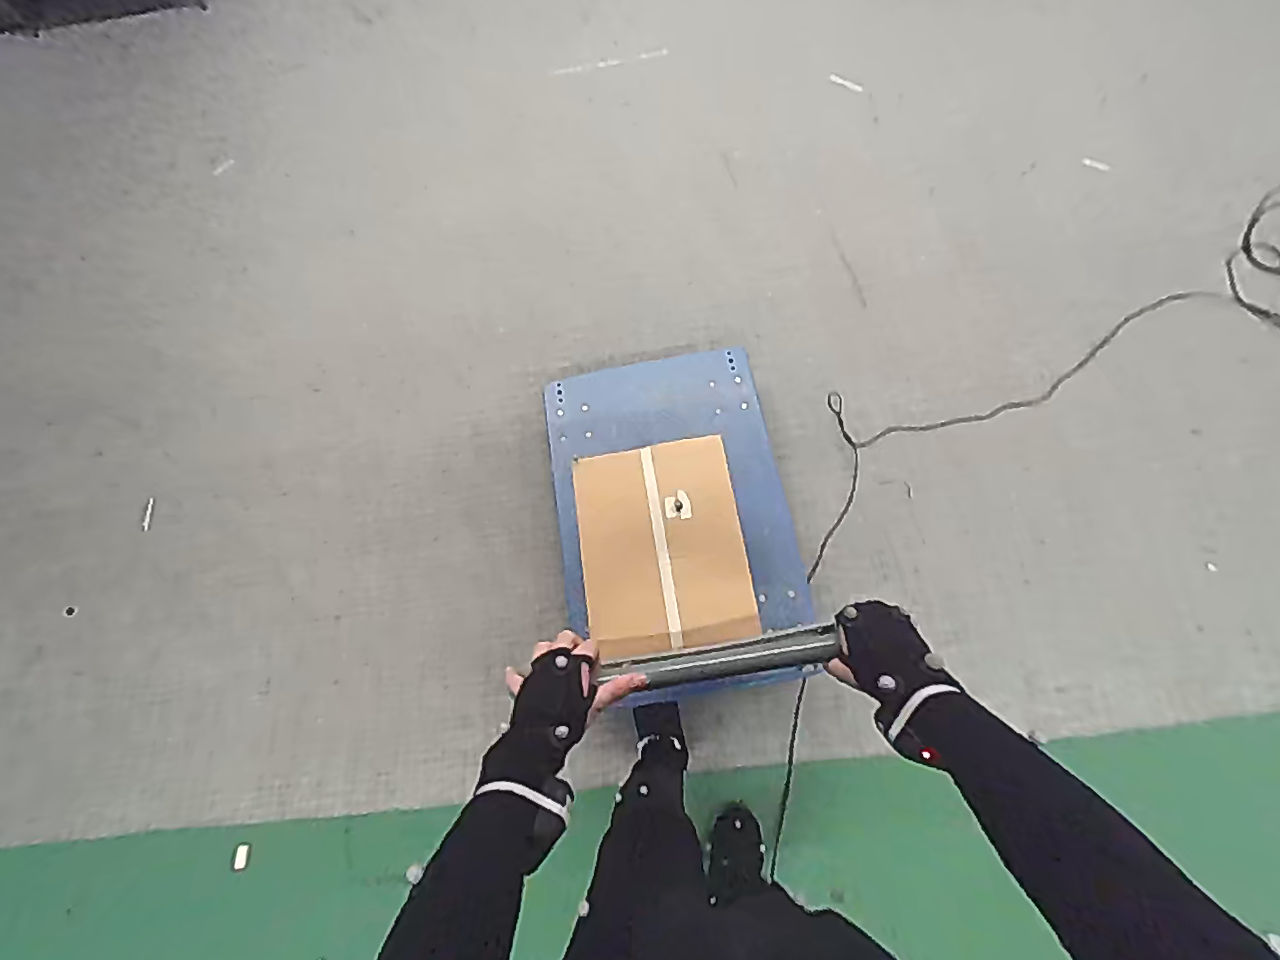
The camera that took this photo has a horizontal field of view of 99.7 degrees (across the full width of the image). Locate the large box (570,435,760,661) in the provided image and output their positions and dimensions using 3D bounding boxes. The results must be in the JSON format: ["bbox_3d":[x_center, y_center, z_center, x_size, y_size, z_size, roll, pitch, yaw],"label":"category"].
[{"bbox_3d":[0.052,0.165,1.189,0.320,0.320,0.408,-10,70,1],"label":"large box"}]
